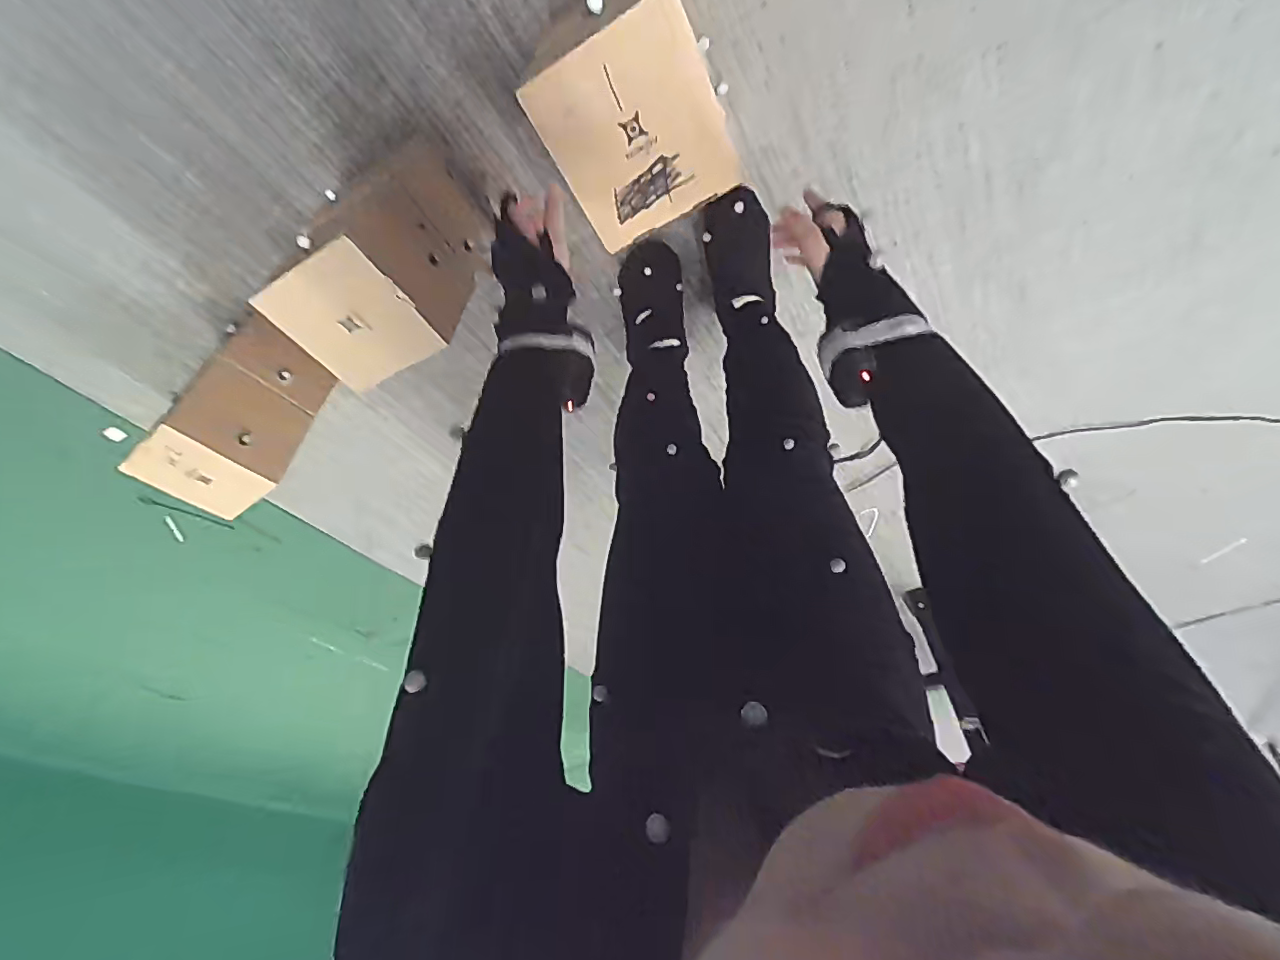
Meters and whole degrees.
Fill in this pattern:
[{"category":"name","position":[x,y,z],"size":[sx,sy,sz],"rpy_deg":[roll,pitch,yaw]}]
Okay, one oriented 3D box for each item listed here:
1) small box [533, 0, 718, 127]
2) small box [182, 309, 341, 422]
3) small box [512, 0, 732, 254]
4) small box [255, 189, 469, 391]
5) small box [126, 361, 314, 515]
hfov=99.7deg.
[{"category":"small box","position":[-0.012,-0.519,0.700],"size":[0.168,0.176,0.179],"rpy_deg":[-21,134,21]},{"category":"small box","position":[-0.721,-0.198,1.058],"size":[0.168,0.176,0.179],"rpy_deg":[-24,132,24]},{"category":"small box","position":[-0.011,-0.394,0.593],"size":[0.168,0.176,0.179],"rpy_deg":[-20,133,20]},{"category":"small box","position":[-0.365,-0.260,0.744],"size":[0.179,0.176,0.168],"rpy_deg":[-20,133,20]},{"category":"small box","position":[-0.721,-0.073,0.950],"size":[0.168,0.176,0.179],"rpy_deg":[-26,132,24]}]
